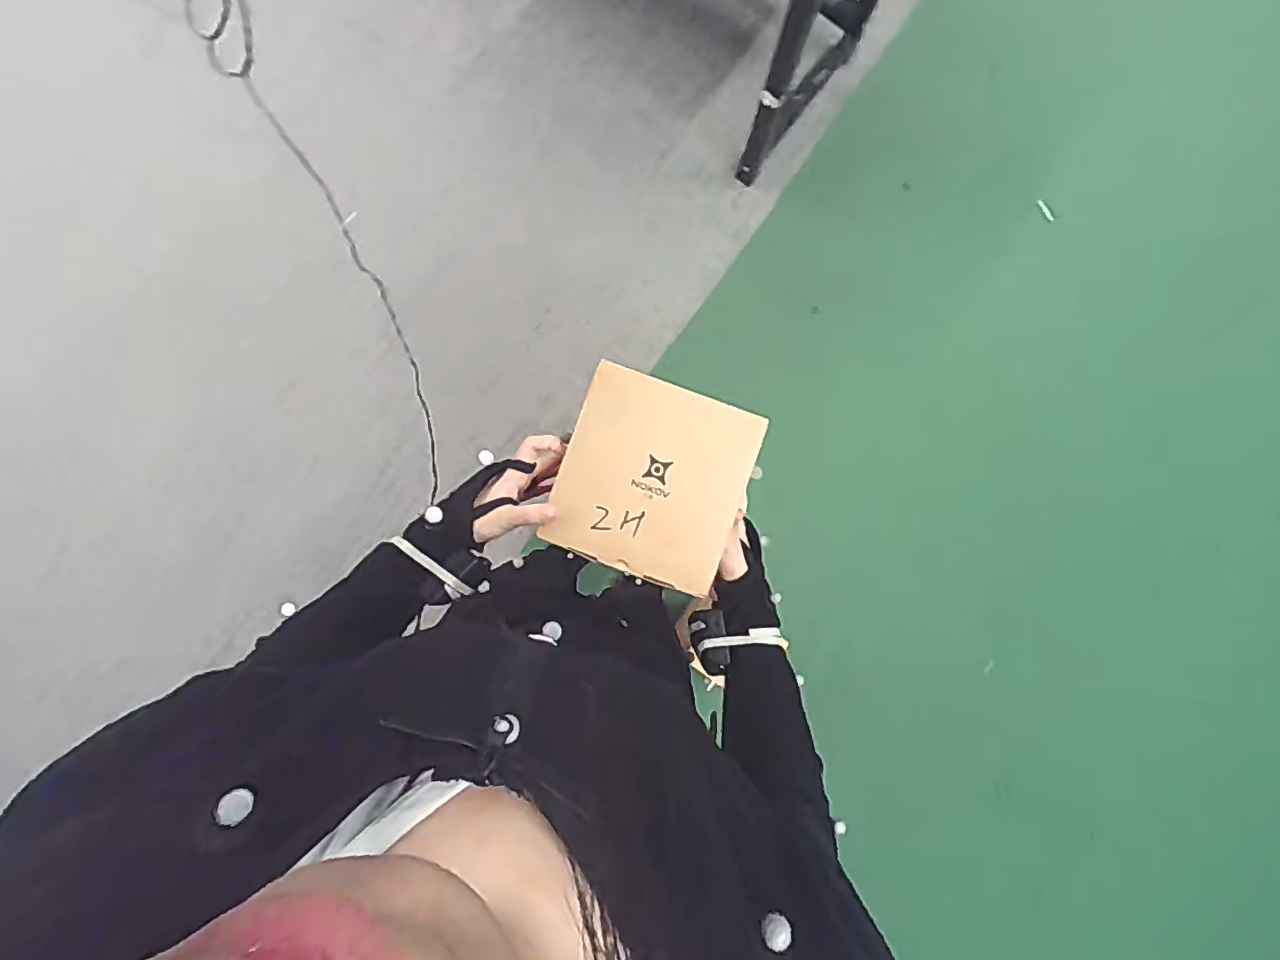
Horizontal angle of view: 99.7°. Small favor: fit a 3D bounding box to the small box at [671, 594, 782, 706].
[{"bbox_3d":[0.192,0.380,1.251,0.179,0.176,0.168,36,84,0],"label":"small box"}]
